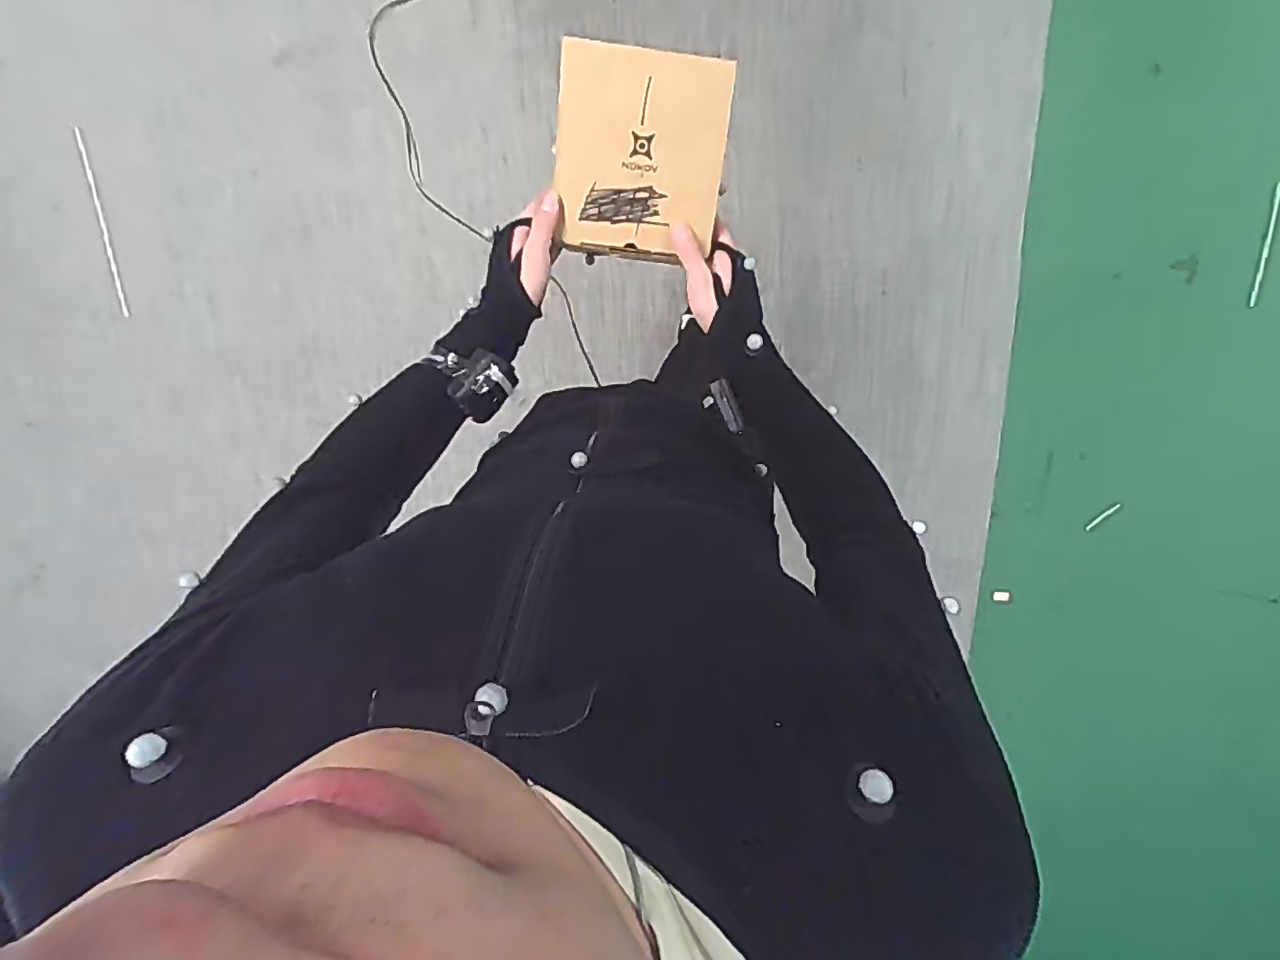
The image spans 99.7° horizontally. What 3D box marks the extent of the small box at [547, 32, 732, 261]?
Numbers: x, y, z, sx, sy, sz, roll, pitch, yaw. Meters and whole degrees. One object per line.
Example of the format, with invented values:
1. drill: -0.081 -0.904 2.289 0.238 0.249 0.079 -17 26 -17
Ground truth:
1. small box: -0.005 -0.346 0.600 0.168 0.176 0.179 5 109 -3
